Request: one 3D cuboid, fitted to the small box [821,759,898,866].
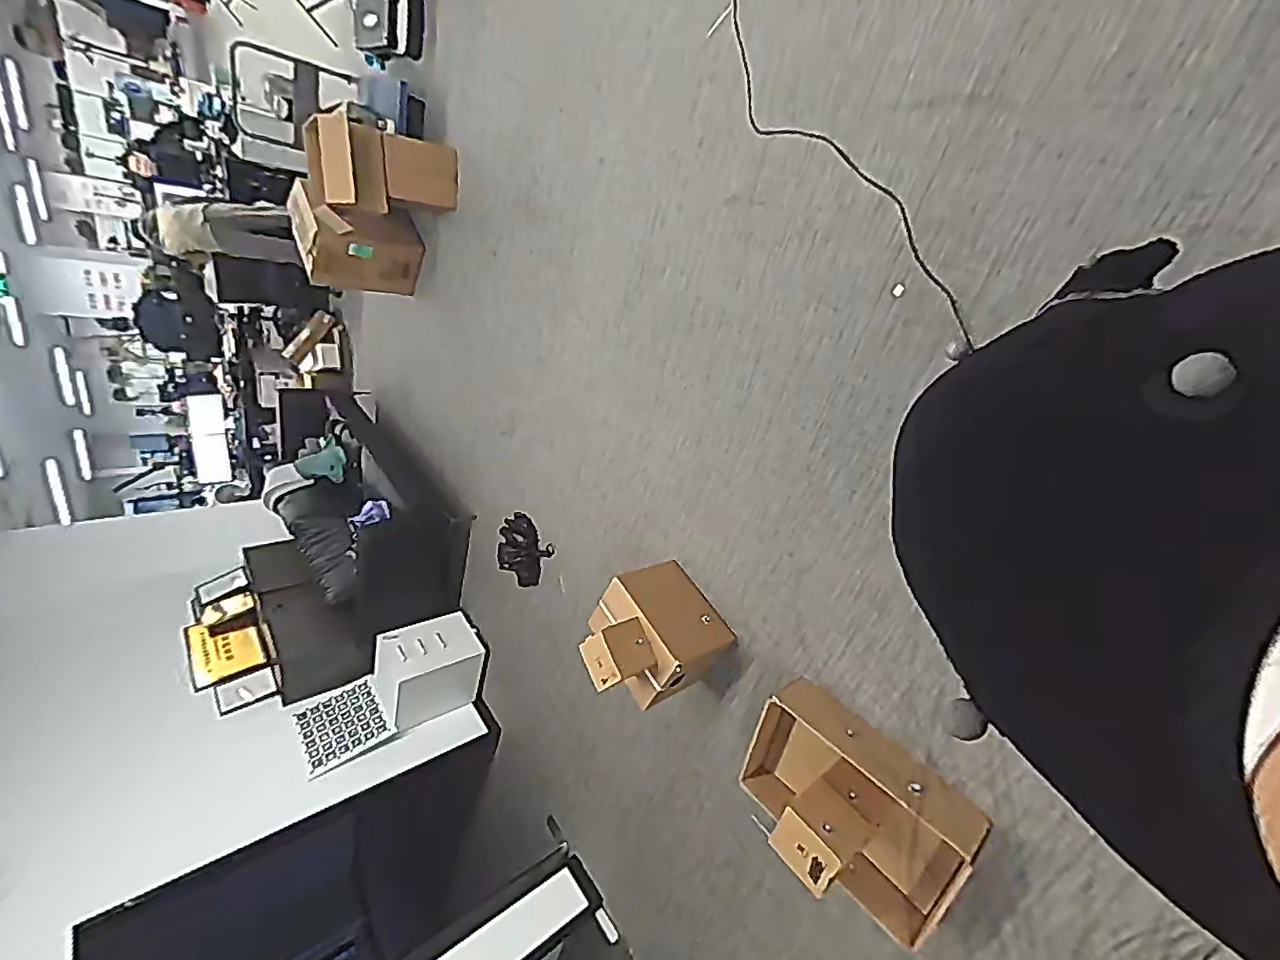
[{"bbox_3d":[0.620,0.964,1.587,0.179,0.176,0.168,34,121,42],"label":"small box"}]

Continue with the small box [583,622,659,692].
[{"bbox_3d":[-0.065,0.611,1.892,0.168,0.176,0.179,-46,62,42],"label":"small box"}]

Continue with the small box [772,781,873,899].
[{"bbox_3d":[0.499,0.972,1.475,0.179,0.176,0.168,37,123,40],"label":"small box"}]
